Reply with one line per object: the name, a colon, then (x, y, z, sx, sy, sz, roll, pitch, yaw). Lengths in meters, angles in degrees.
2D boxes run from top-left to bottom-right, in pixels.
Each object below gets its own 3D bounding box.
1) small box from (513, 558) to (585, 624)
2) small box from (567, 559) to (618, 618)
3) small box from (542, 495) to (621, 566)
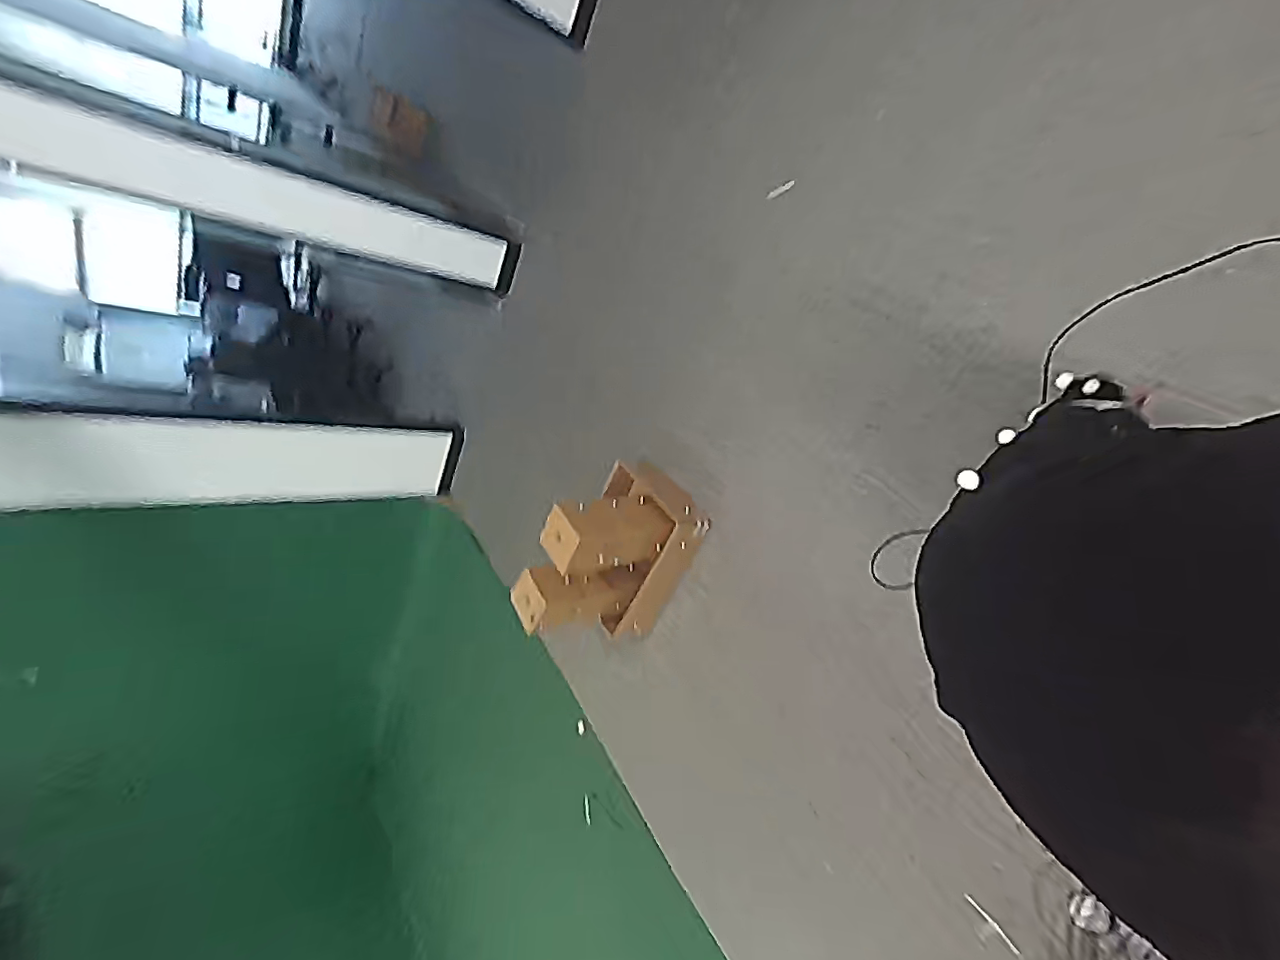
small box: (-0.328, 0.394, 1.953, 0.179, 0.176, 0.168, 56, 128, 32)
small box: (-0.213, 0.398, 2.071, 0.179, 0.176, 0.168, 54, 126, 33)
small box: (-0.196, 0.165, 1.815, 0.179, 0.176, 0.168, 50, 126, 34)
